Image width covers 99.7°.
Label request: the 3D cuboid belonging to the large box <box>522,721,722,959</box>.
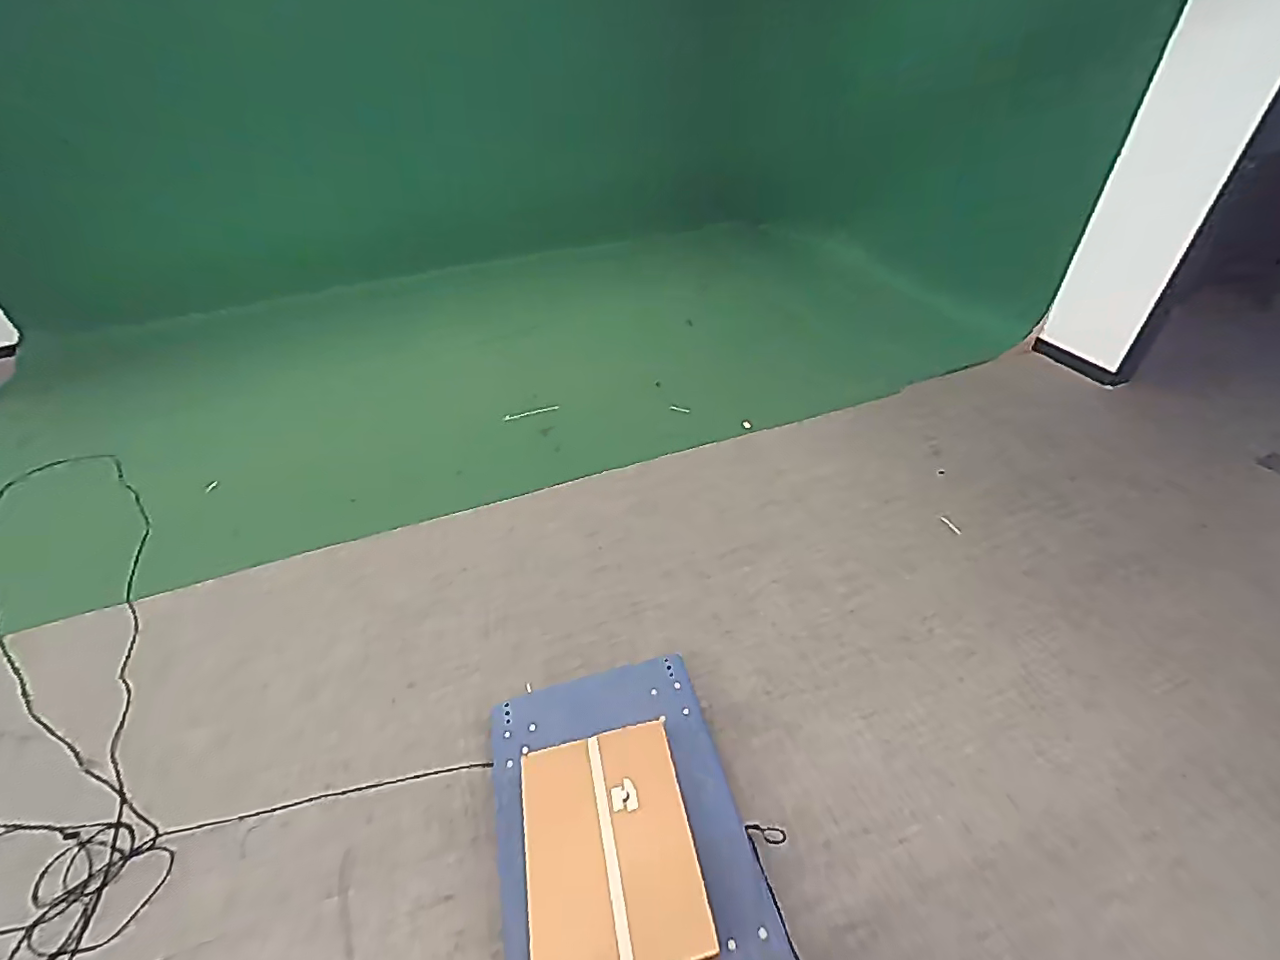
[{"bbox_3d":[-0.044,0.789,1.108,0.320,0.320,0.408,-11,41,-7],"label":"large box"}]
